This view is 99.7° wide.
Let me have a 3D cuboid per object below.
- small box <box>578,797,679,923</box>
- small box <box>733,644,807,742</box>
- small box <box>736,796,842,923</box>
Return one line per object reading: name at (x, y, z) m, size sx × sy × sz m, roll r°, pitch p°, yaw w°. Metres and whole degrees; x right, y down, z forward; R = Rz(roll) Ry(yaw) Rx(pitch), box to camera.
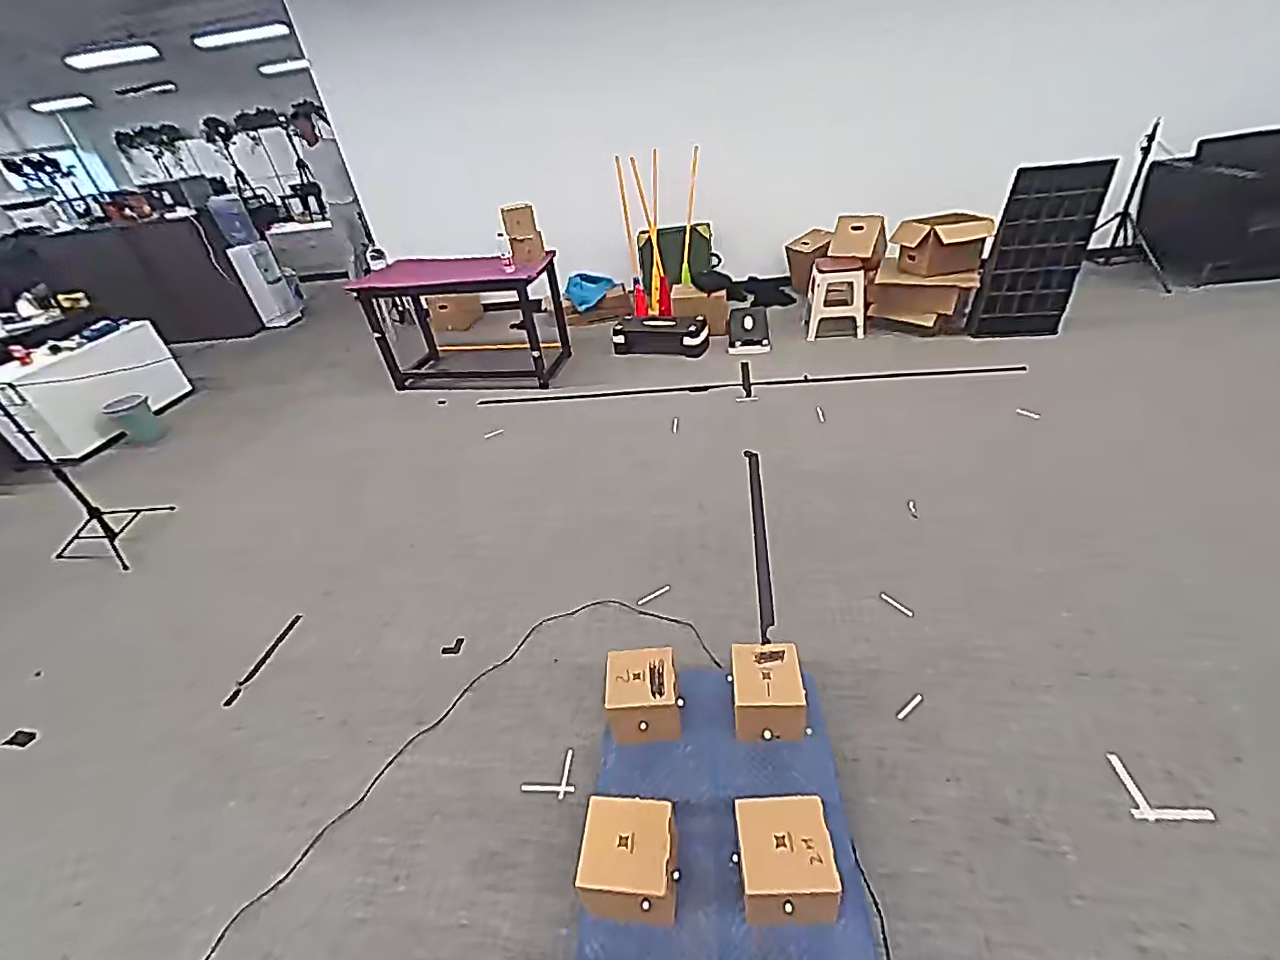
small box at (-0.016, 0.787, 1.120) m, size 0.179 × 0.176 × 0.168 m, roll -1°, pitch 36°, yaw 8°
small box at (0.325, 0.543, 1.385) m, size 0.168 × 0.176 × 0.179 m, roll -3°, pitch 37°, yaw 7°
small box at (0.292, 0.764, 1.087) m, size 0.179 × 0.176 × 0.168 m, roll -5°, pitch 36°, yaw 5°
